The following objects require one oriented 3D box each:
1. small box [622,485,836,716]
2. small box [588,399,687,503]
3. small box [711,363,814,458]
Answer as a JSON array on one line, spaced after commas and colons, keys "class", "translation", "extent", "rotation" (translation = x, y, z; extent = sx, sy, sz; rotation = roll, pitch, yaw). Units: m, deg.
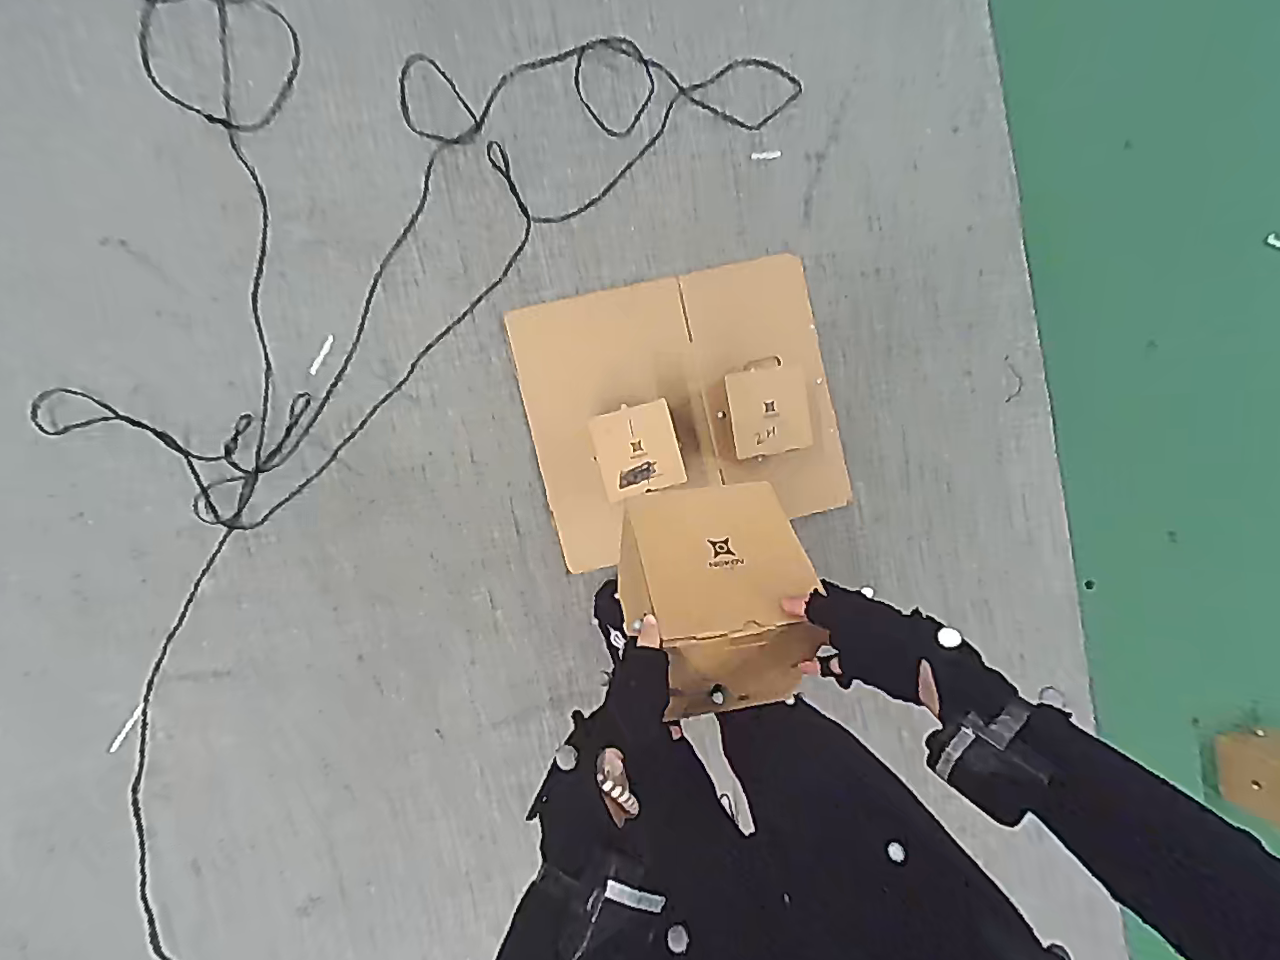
[{"class": "small box", "translation": [0.076, 0.128, 0.585], "extent": [0.168, 0.179, 0.176], "rotation": [-5, 137, -11]}, {"class": "small box", "translation": [-0.009, -0.062, 1.148], "extent": [0.168, 0.176, 0.179], "rotation": [-15, 93, -4]}, {"class": "small box", "translation": [0.257, -0.143, 1.173], "extent": [0.168, 0.176, 0.179], "rotation": [-9, 94, -4]}]
